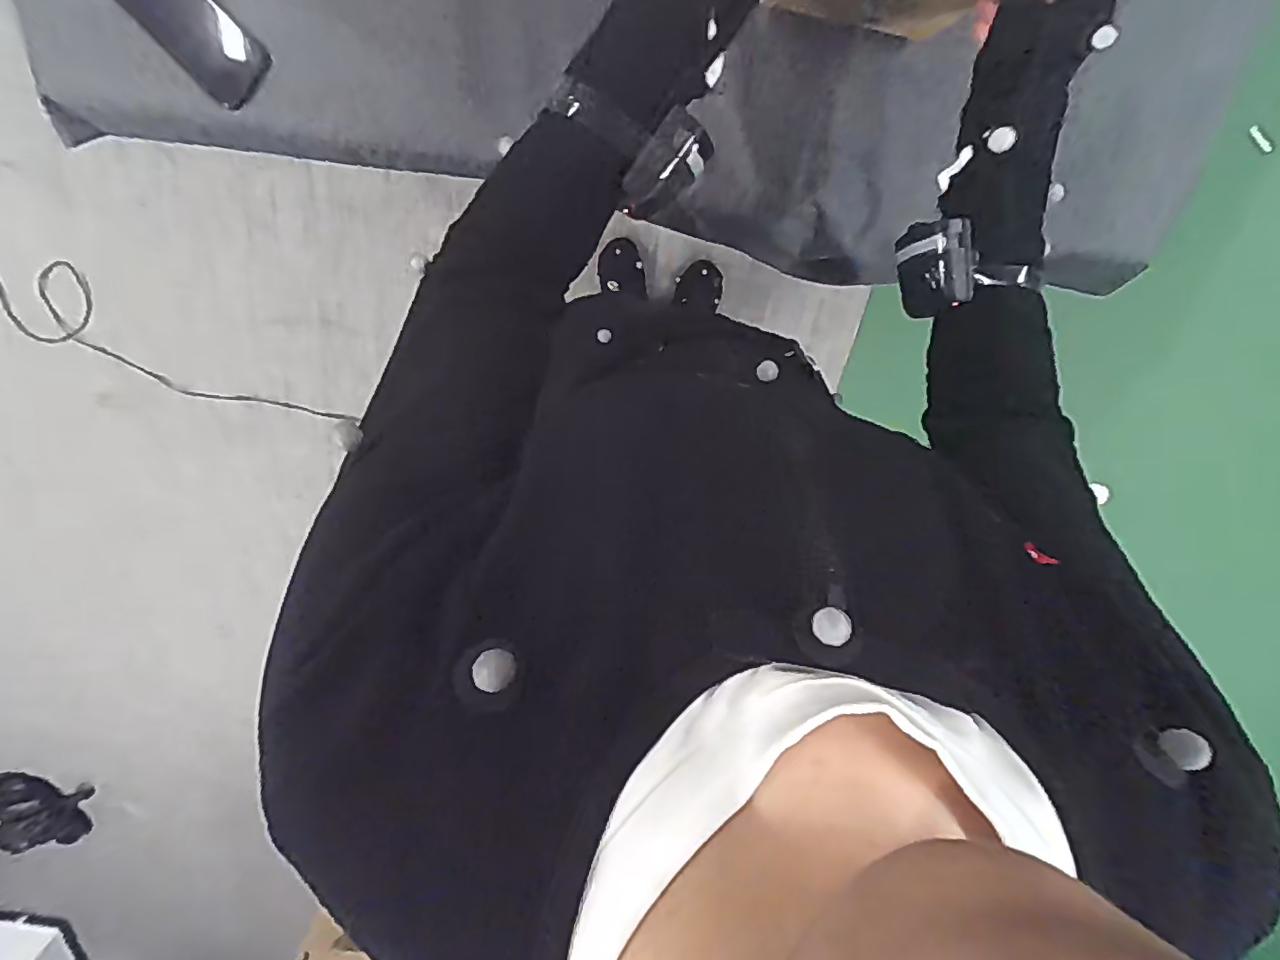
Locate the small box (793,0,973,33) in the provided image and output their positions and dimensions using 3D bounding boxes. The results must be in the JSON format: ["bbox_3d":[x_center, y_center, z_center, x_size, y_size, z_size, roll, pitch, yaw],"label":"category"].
[{"bbox_3d":[0.205,-0.468,0.396,0.168,0.176,0.179,11,117,-3],"label":"small box"}]
